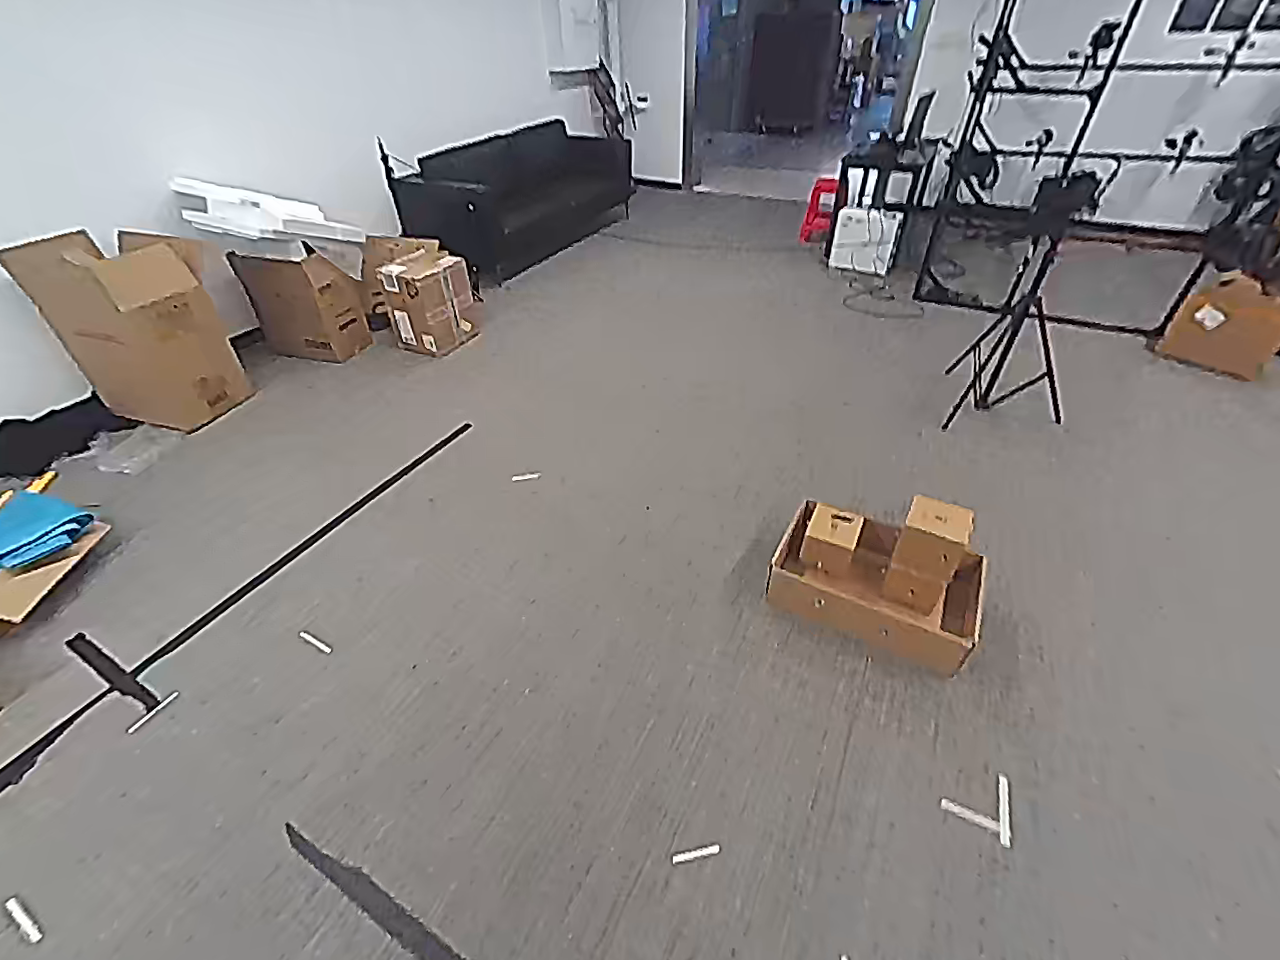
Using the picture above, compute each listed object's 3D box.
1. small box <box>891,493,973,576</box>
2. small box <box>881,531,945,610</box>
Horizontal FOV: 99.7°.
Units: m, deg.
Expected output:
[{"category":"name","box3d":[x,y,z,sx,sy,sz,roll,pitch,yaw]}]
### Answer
[{"category":"small box","box3d":[0.917,0.175,1.701,0.179,0.176,0.168,19,43,26]},{"category":"small box","box3d":[0.919,0.303,1.805,0.168,0.176,0.179,18,45,26]}]
